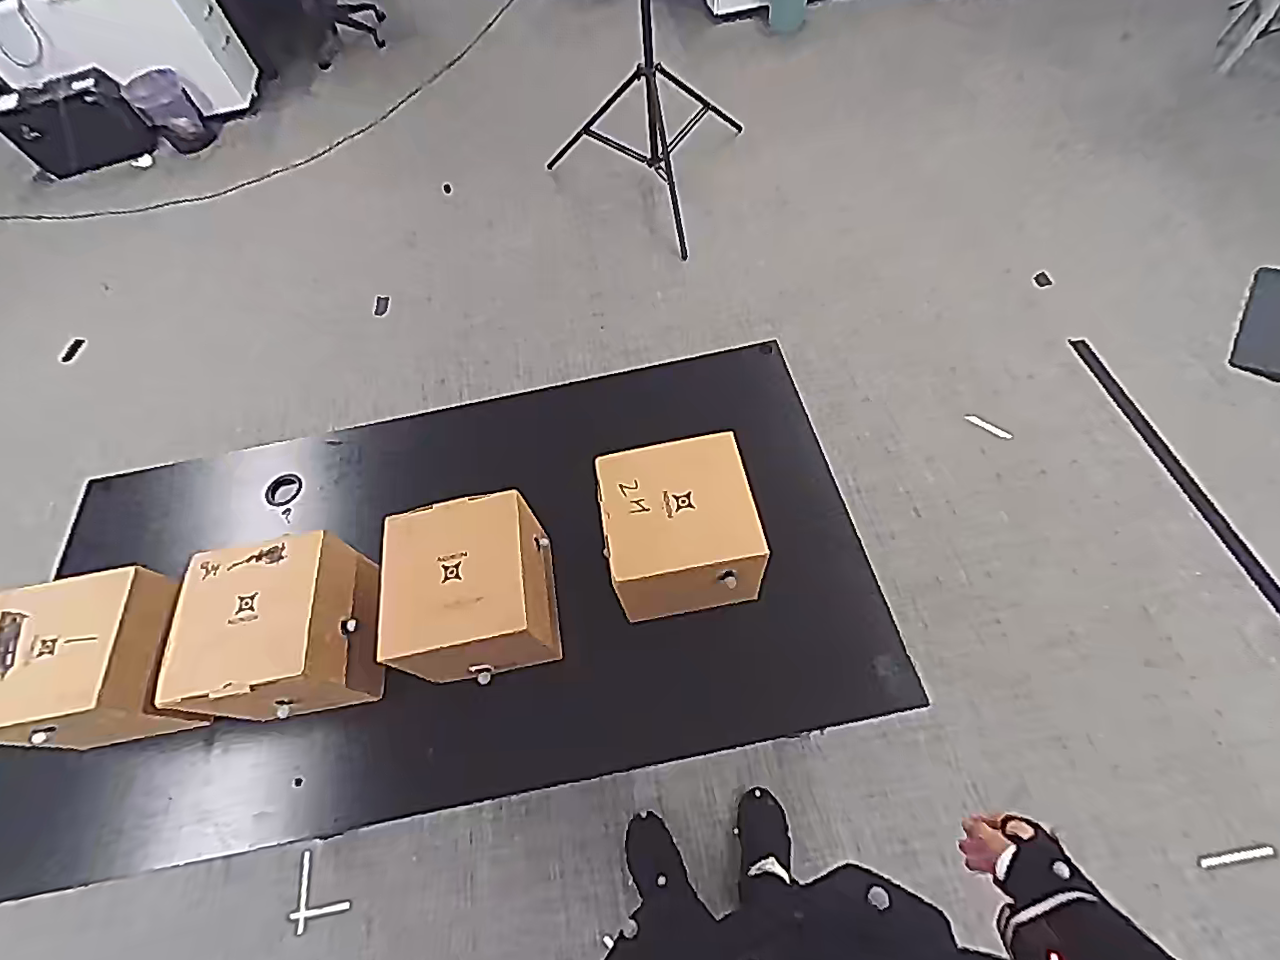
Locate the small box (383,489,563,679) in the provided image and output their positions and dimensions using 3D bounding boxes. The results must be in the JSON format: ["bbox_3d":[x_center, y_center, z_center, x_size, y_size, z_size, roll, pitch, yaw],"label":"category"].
[{"bbox_3d":[-0.202,0.138,0.690,0.168,0.176,0.179,-13,62,0],"label":"small box"}]

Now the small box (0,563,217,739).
[{"bbox_3d":[-0.665,0.224,0.688,0.179,0.176,0.168,-11,61,-1],"label":"small box"}]

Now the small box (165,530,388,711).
[{"bbox_3d":[-0.436,0.186,0.686,0.168,0.176,0.179,-11,61,-1],"label":"small box"}]

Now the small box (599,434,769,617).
[{"bbox_3d":[0.052,0.065,0.699,0.179,0.176,0.168,-11,60,1],"label":"small box"}]
